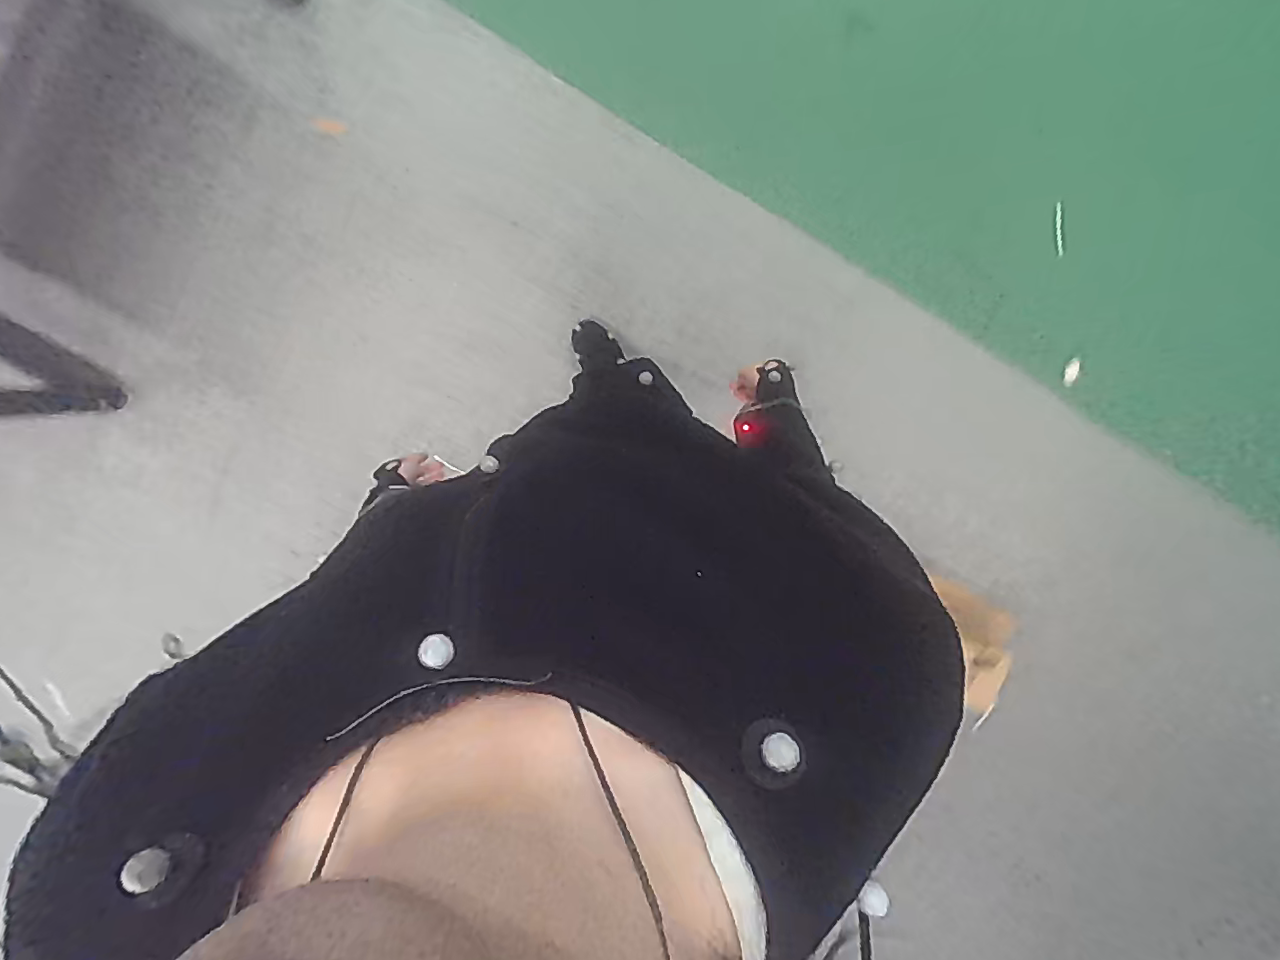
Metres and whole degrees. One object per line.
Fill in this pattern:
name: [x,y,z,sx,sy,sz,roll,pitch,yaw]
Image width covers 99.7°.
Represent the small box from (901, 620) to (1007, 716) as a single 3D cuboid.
small box: [0.866,0.518,1.512,0.168,0.176,0.179,16,102,-4]
